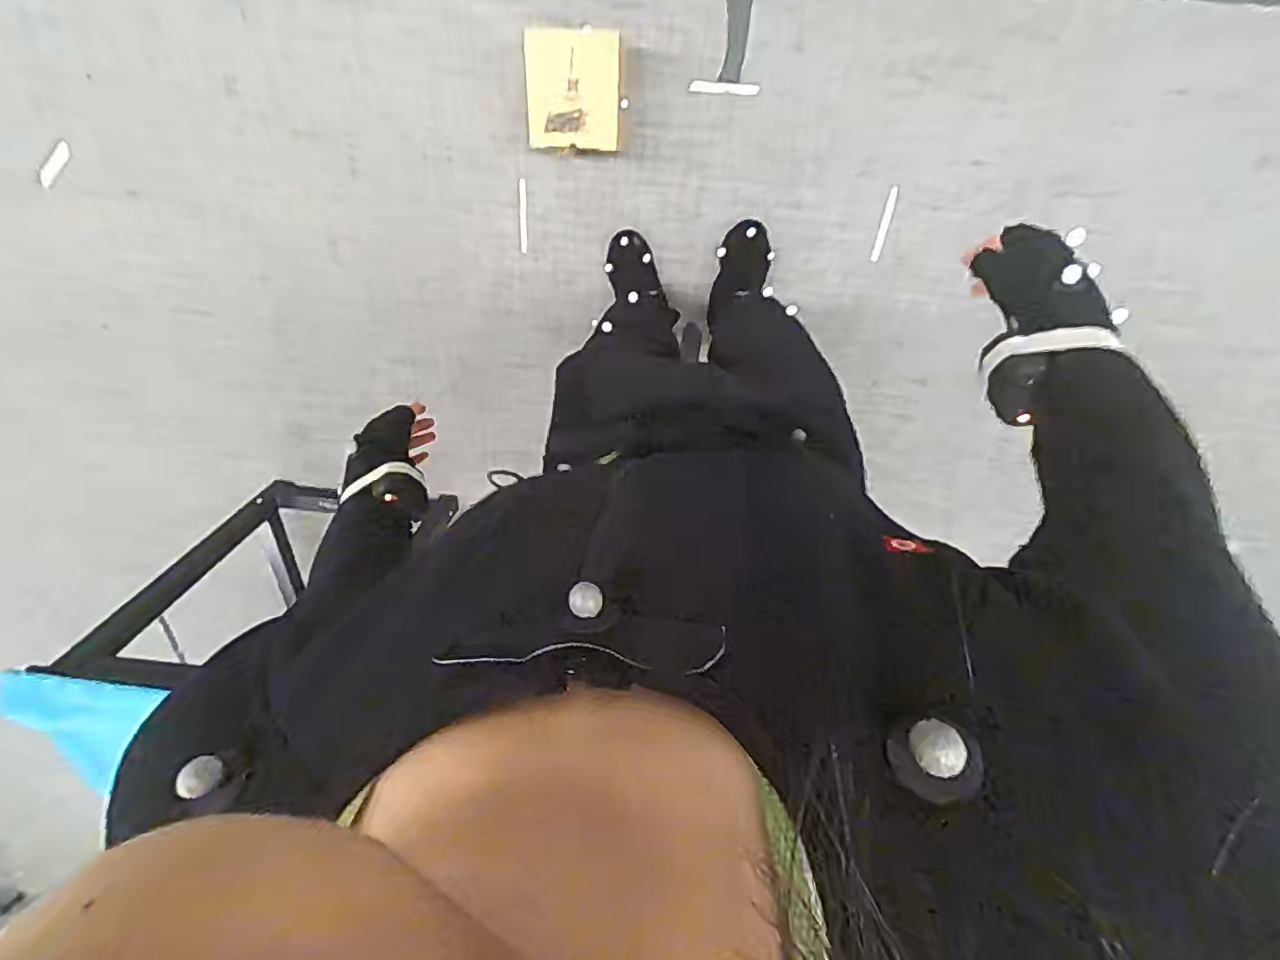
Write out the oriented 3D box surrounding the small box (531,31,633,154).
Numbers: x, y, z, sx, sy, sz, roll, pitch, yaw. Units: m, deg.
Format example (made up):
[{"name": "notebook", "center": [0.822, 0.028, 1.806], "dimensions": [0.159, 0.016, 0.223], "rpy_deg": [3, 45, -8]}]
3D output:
[{"name": "small box", "center": [-0.105, -0.733, 1.037], "dimensions": [0.168, 0.176, 0.179], "rpy_deg": [5, 121, 3]}]
